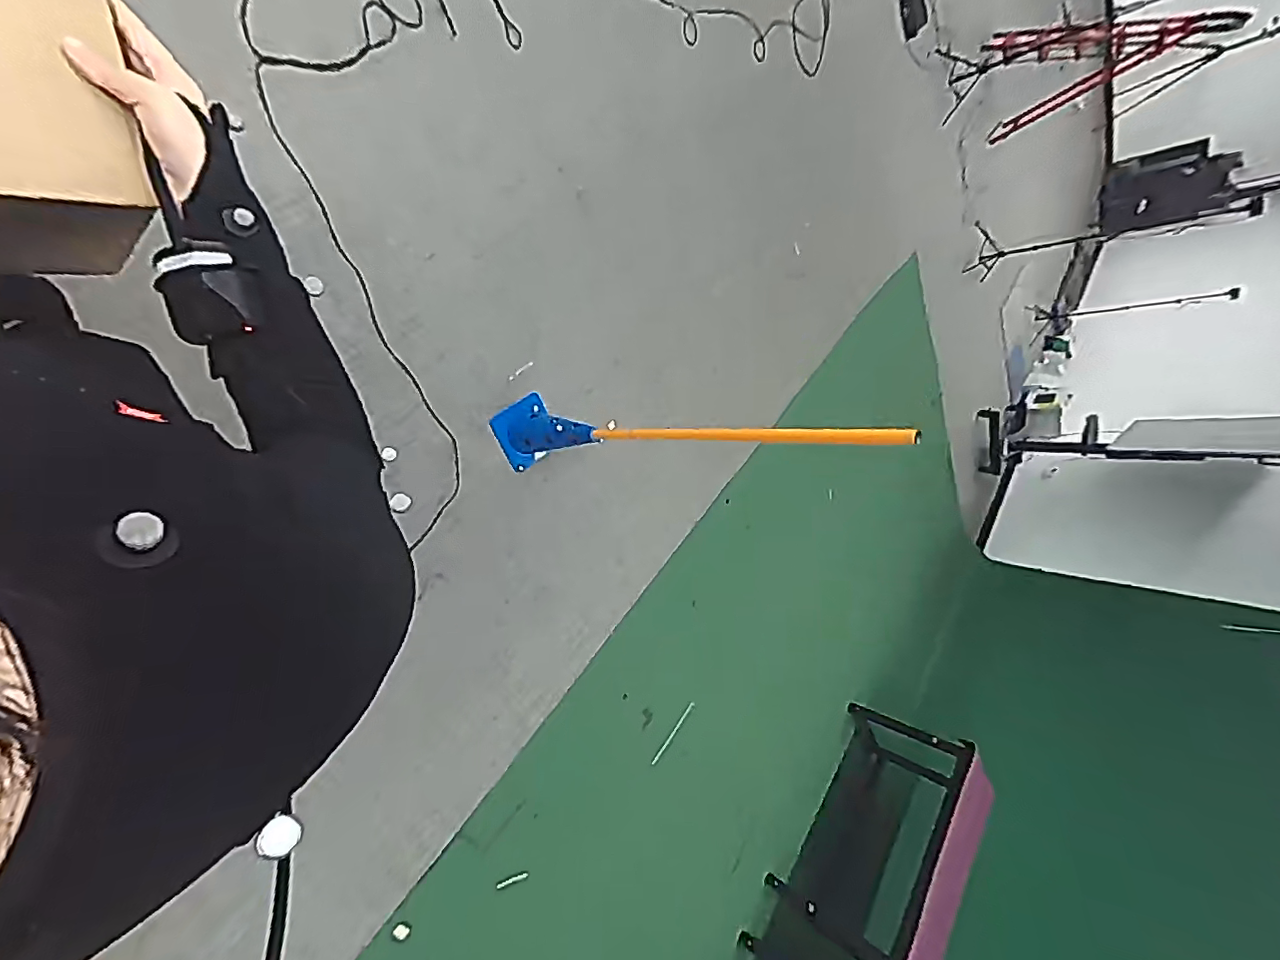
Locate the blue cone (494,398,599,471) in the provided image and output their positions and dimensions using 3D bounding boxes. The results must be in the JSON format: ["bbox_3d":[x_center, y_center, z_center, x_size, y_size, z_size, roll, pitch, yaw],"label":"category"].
[{"bbox_3d":[-0.256,-0.135,1.619,0.193,0.380,0.192,-40,121,-33],"label":"blue cone"}]

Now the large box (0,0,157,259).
[{"bbox_3d":[-0.622,-0.328,0.327,0.408,0.320,0.320,-21,111,-46],"label":"large box"}]
